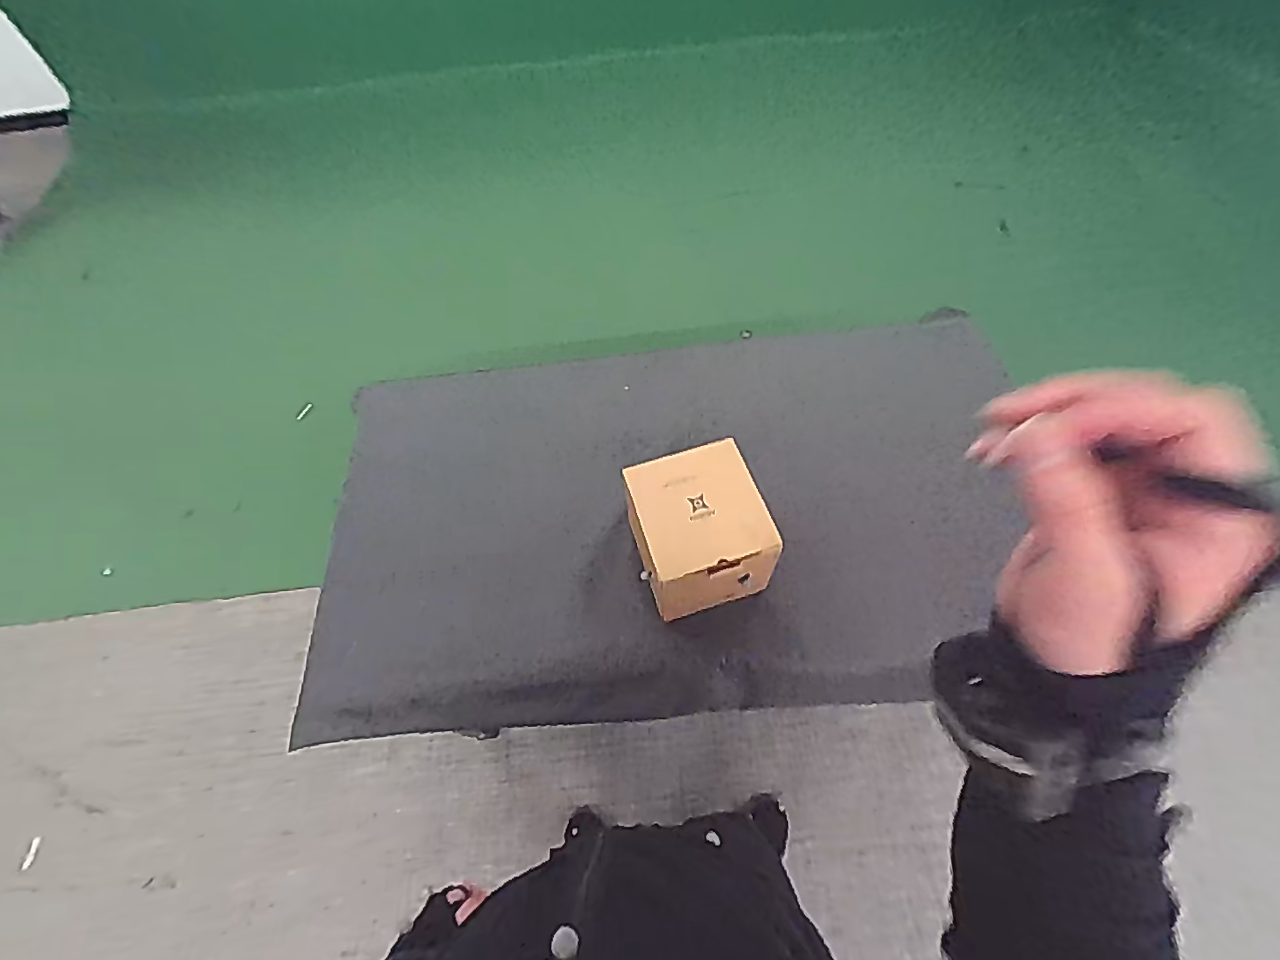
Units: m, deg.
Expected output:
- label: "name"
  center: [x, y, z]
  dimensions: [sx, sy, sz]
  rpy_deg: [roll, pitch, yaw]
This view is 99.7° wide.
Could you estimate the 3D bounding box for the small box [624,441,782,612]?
- label: "small box"
  center: [0.084, 0.076, 0.784]
  dimensions: [0.168, 0.176, 0.179]
  rpy_deg: [-16, 59, -8]
